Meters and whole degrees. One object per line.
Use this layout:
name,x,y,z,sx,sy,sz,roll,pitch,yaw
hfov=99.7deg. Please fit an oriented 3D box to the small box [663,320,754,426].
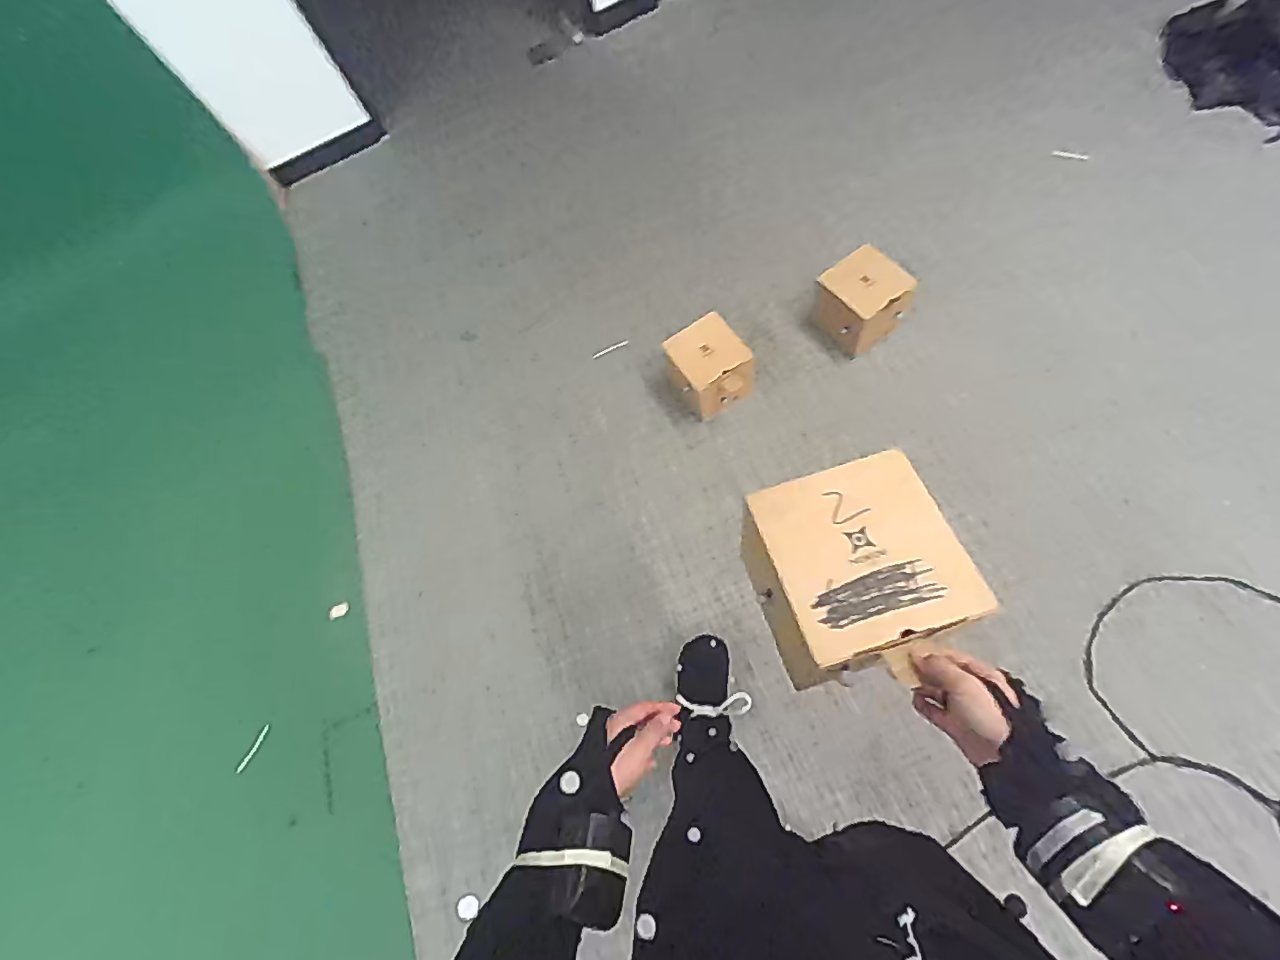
small box,0.179,-0.273,1.411,0.168,0.176,0.179,-33,66,-3

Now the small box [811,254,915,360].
small box,0.567,-0.436,1.399,0.168,0.176,0.179,-35,64,-5
